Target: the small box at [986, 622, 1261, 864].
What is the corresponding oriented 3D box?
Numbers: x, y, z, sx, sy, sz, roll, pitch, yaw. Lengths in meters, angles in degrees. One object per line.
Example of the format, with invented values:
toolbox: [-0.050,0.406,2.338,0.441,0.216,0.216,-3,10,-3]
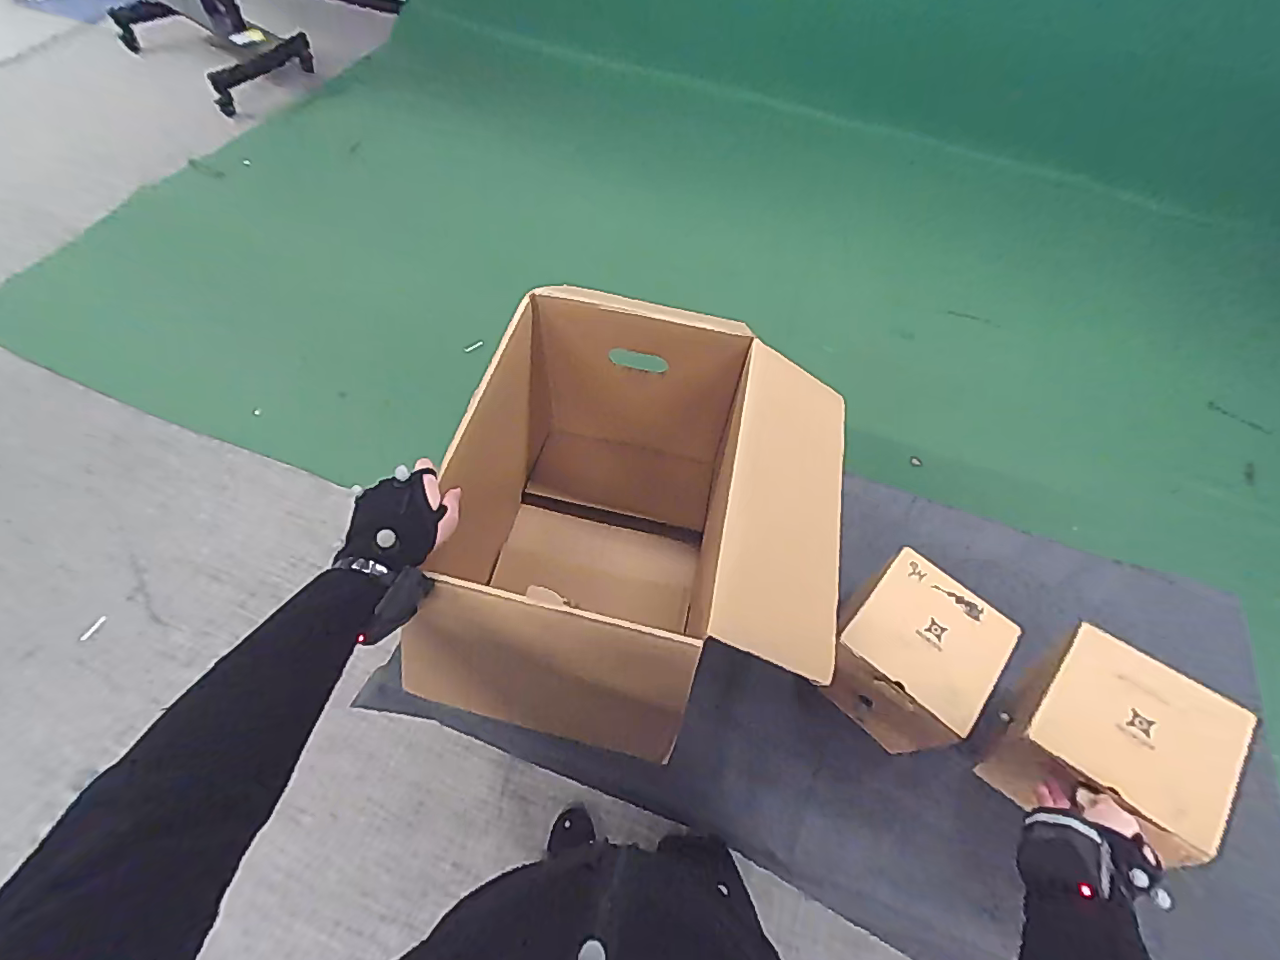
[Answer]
small box: [0.542,0.309,0.632,0.168,0.176,0.179,33,62,29]
